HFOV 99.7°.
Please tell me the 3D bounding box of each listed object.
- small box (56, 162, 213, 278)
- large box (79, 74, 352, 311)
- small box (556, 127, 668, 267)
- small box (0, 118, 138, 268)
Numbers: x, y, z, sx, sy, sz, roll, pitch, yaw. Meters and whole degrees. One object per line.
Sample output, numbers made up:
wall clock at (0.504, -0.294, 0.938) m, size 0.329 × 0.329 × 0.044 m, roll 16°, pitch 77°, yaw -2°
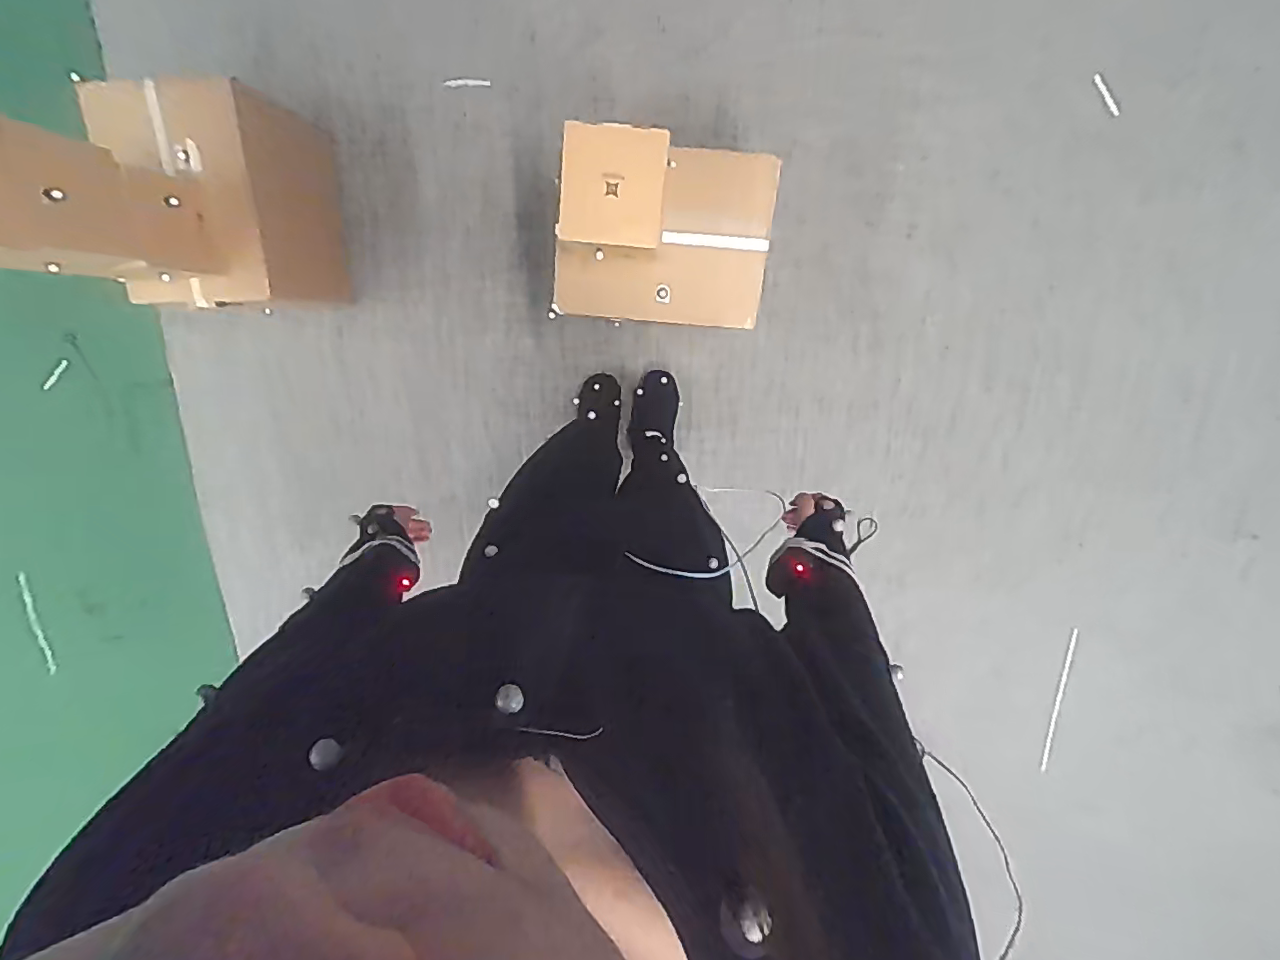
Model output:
small box at (-0.932, -0.467, 0.993) m, size 0.179 × 0.176 × 0.168 m, roll -1°, pitch 105°, yaw 5°
large box at (-0.901, -0.599, 1.208) m, size 0.320 × 0.320 × 0.408 m, roll 0°, pitch 105°, yaw 3°
small box at (-0.042, -0.476, 0.936) m, size 0.168 × 0.176 × 0.179 m, roll 7°, pitch 103°, yaw 1°
small box at (-0.942, -0.431, 0.834) m, size 0.168 × 0.176 × 0.179 m, roll -5°, pitch 104°, yaw 4°
